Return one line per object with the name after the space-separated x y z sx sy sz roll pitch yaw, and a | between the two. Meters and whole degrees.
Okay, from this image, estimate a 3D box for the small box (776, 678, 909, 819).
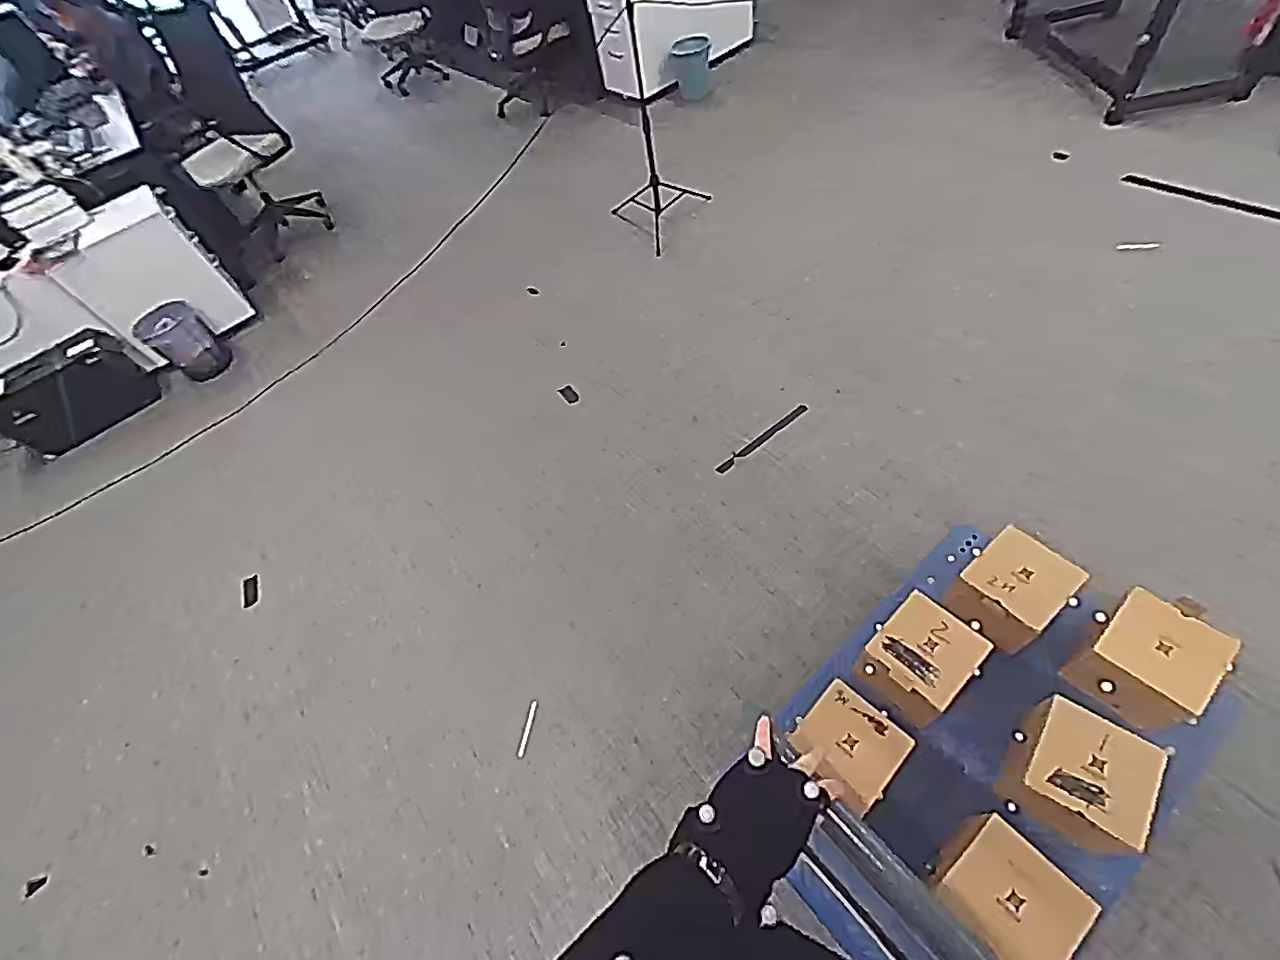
0.382 0.524 1.046 0.179 0.176 0.168 -42 59 -17 | small box

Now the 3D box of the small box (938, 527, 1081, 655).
0.776 0.240 1.158 0.179 0.176 0.168 -38 56 -14 | small box

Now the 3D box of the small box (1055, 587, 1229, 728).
0.954 0.348 1.047 0.179 0.176 0.168 -42 57 -17 | small box

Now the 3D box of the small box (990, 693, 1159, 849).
0.761 0.523 0.966 0.168 0.176 0.179 28 65 27 | small box

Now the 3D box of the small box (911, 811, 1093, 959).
0.578 0.688 0.892 0.179 0.176 0.168 -38 57 -15 | small box
